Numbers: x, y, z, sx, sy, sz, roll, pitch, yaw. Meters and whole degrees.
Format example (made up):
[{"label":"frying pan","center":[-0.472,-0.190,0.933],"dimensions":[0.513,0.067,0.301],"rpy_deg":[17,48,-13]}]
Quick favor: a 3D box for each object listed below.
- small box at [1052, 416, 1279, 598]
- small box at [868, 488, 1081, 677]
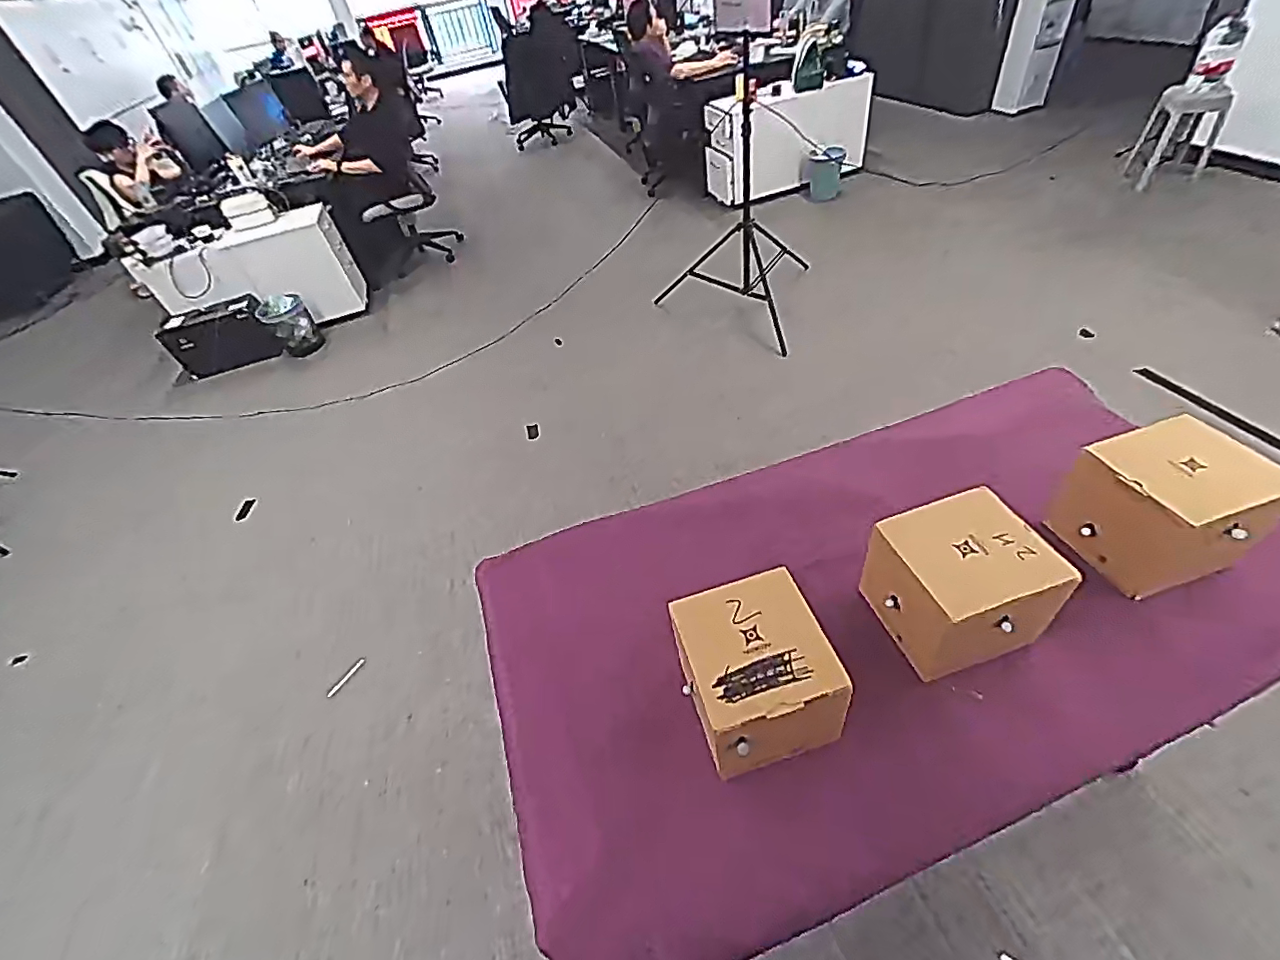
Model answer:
[{"label":"small box","center":[0.755,0.040,0.781],"dimensions":[0.179,0.176,0.168],"rpy_deg":[-18,44,-4]},{"label":"small box","center":[0.438,0.145,0.747],"dimensions":[0.179,0.176,0.168],"rpy_deg":[-17,45,-5]}]
